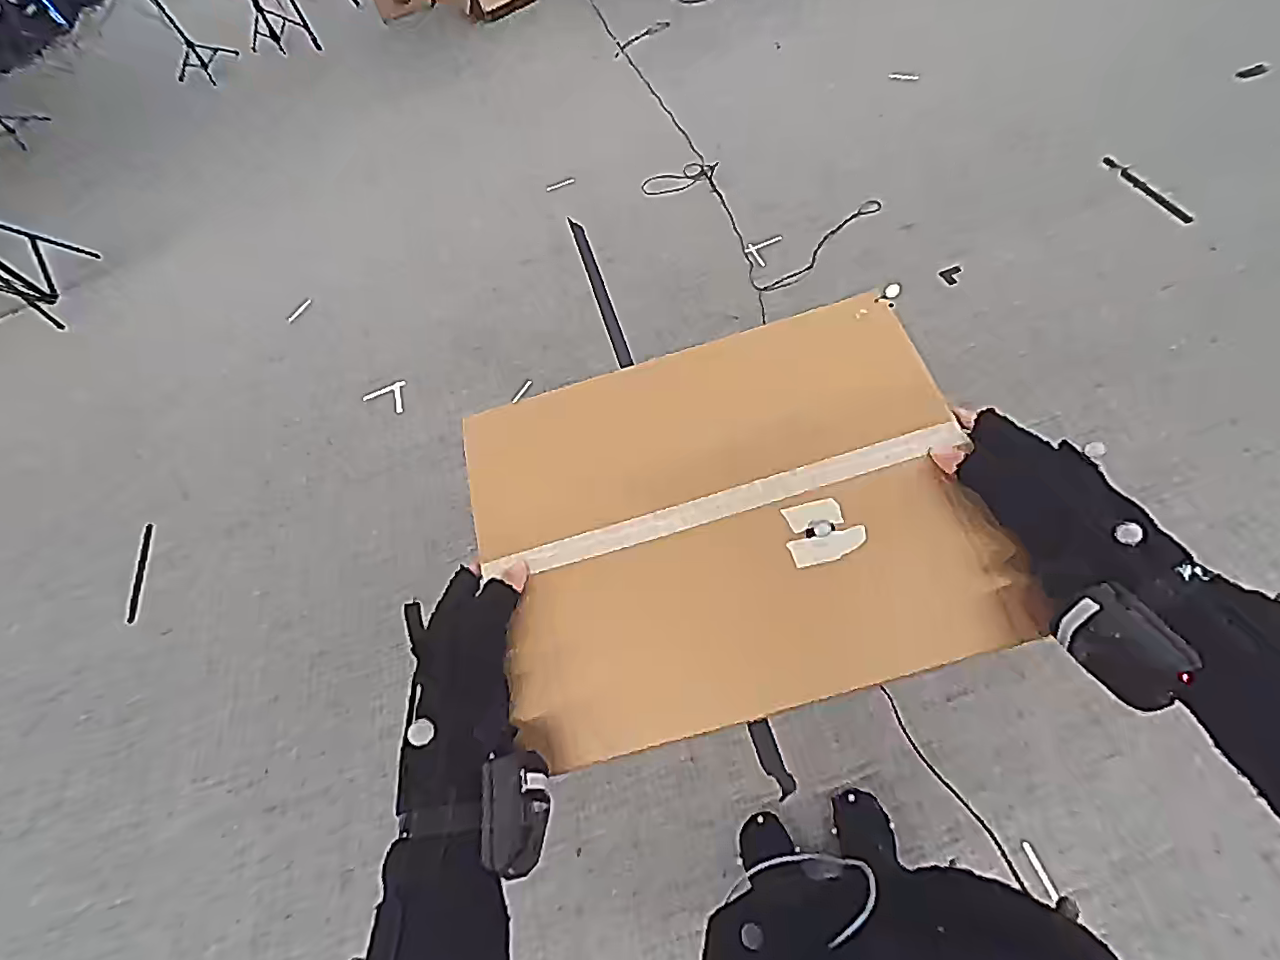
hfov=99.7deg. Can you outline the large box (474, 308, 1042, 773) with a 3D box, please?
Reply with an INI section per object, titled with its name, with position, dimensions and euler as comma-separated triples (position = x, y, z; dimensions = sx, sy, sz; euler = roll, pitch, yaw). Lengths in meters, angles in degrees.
[large box]
position = 0.086, 0.084, 0.591
dimensions = 0.408, 0.320, 0.320
euler = -17, 66, 1
